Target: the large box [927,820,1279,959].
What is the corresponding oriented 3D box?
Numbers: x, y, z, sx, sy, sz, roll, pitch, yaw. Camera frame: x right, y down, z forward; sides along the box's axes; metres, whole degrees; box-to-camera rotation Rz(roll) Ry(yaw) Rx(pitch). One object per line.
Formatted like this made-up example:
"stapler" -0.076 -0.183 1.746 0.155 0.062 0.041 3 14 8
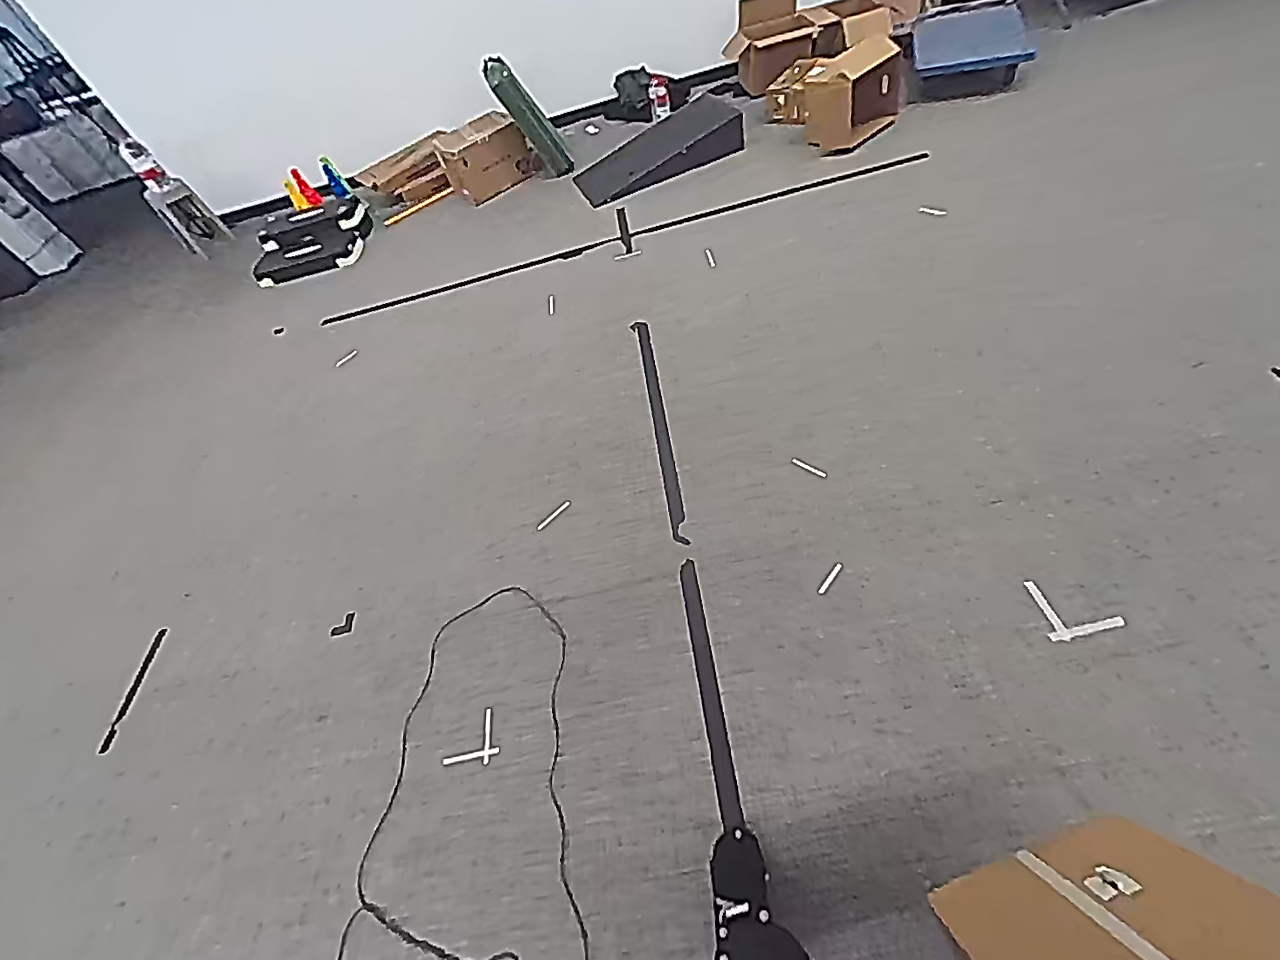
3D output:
"large box" 0.611 0.658 0.584 0.320 0.408 0.320 -23 75 0
